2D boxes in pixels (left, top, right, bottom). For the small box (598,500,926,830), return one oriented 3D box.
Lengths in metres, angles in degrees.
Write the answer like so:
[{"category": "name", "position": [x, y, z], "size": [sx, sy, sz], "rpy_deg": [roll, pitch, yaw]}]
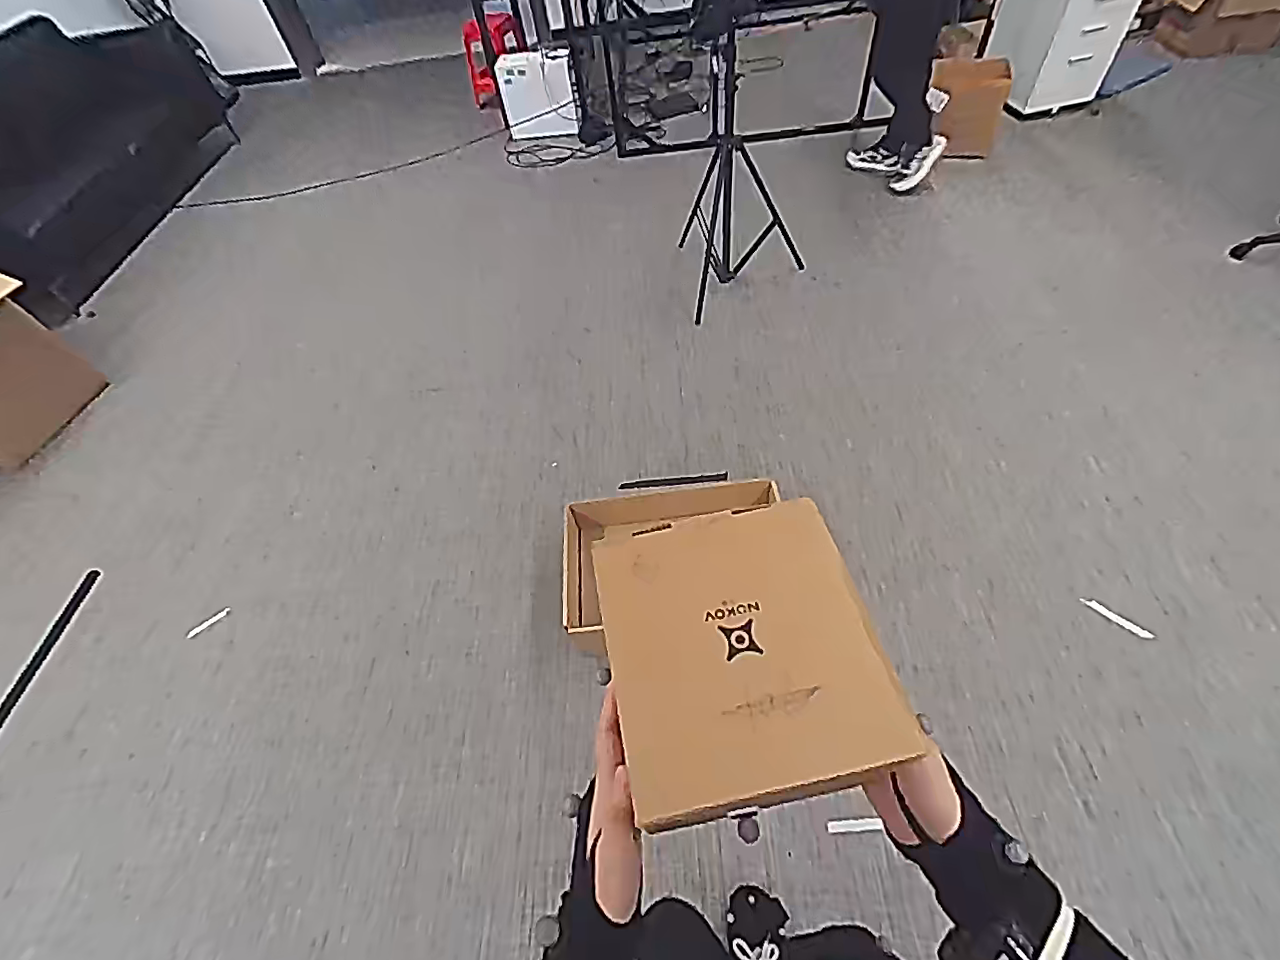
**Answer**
[{"category": "small box", "position": [0.069, 0.144, 0.408], "size": [0.168, 0.176, 0.179], "rpy_deg": [-12, 56, -3]}]
